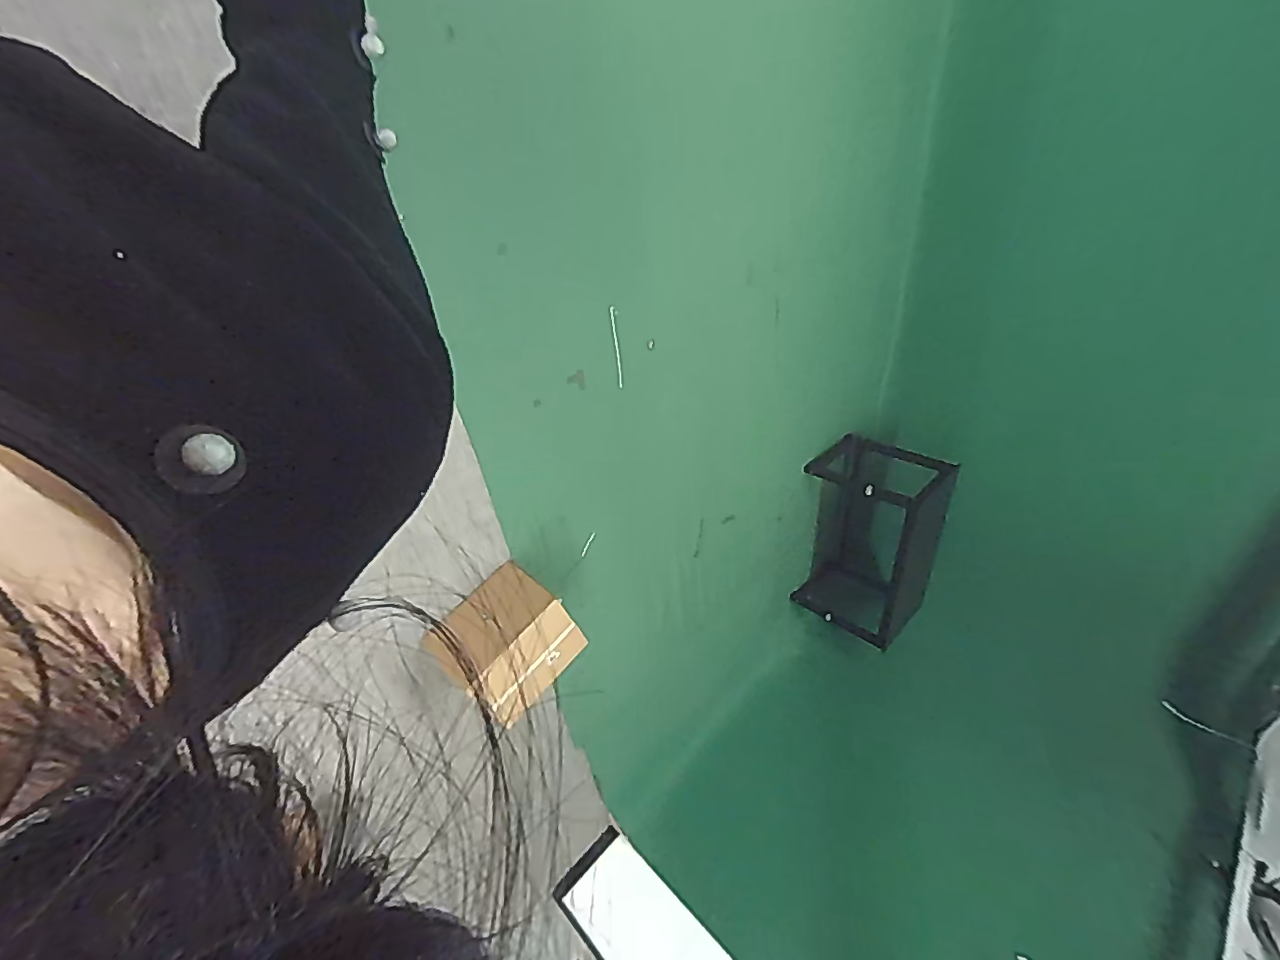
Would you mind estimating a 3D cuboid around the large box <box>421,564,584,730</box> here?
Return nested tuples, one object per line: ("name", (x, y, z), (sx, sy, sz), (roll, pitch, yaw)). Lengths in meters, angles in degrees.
("large box", (-0.483, 0.587, 1.933), (0.408, 0.320, 0.320), (-45, 137, -23))
